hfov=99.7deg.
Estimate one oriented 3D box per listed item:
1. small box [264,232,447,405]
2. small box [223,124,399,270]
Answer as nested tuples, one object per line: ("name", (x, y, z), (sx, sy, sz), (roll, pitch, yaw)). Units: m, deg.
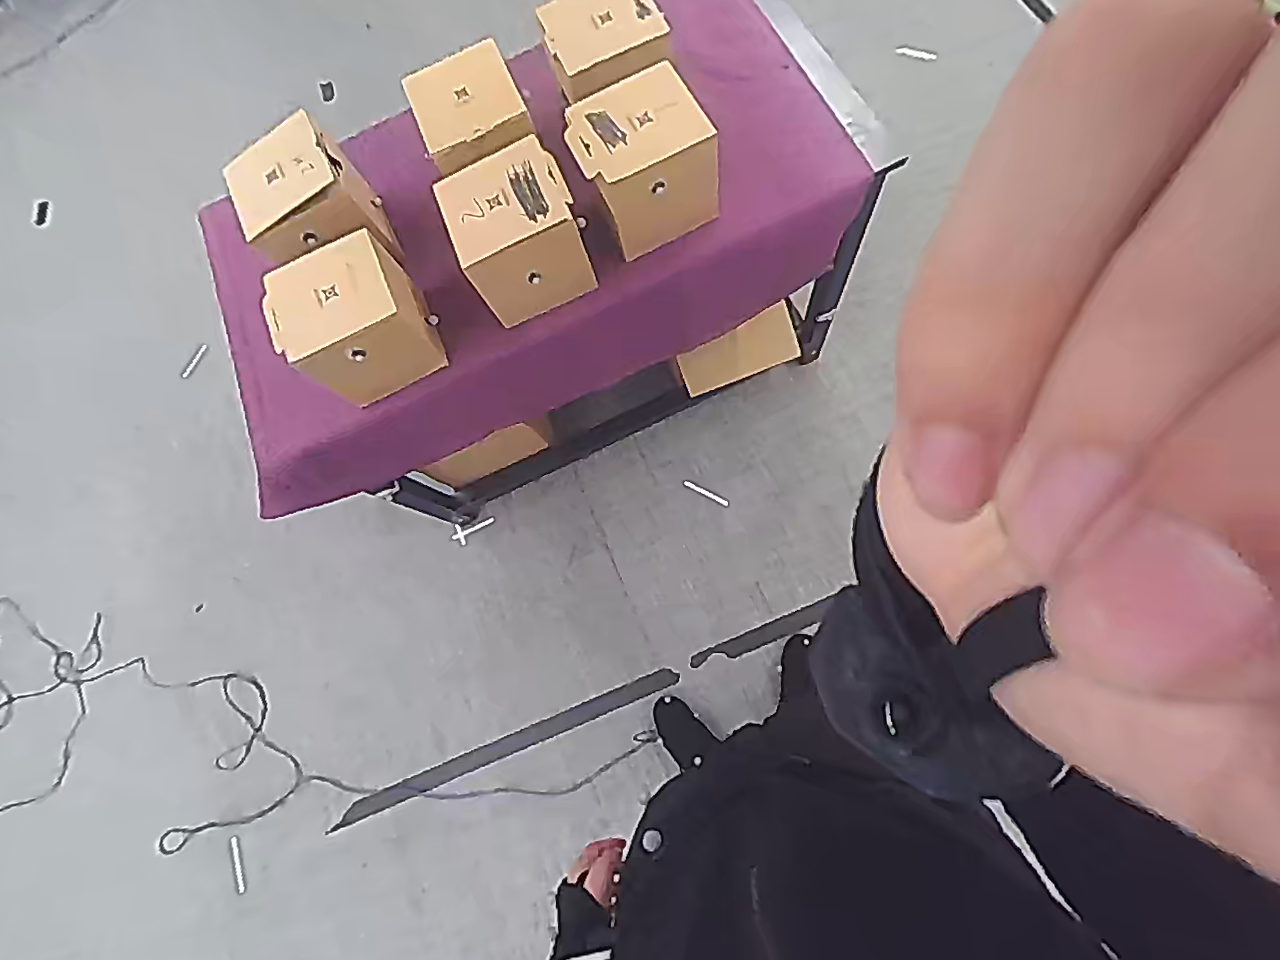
("small box", (-0.443, -0.245, 0.861), (0.179, 0.176, 0.168), (-26, 74, 0))
("small box", (-0.554, -0.448, 0.928), (0.179, 0.176, 0.168), (-28, 74, 0))
